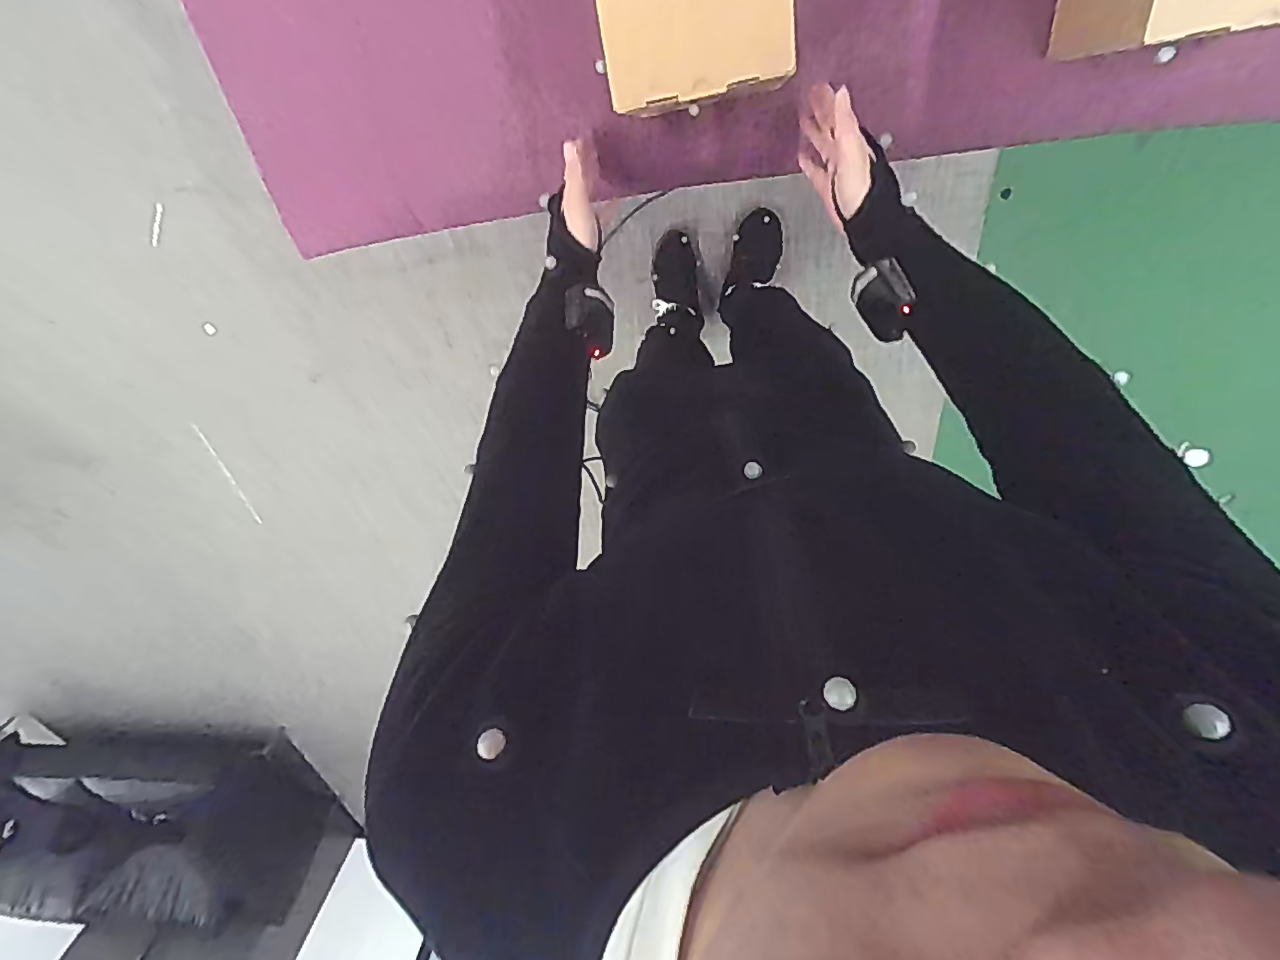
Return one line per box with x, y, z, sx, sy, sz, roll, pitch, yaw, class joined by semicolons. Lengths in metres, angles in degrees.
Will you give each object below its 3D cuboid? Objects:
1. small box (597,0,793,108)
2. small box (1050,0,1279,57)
0.050;-0.471;0.509;0.168;0.176;0.179;-5;123;12;small box
0.475;-0.471;0.437;0.168;0.176;0.179;-1;123;12;small box
